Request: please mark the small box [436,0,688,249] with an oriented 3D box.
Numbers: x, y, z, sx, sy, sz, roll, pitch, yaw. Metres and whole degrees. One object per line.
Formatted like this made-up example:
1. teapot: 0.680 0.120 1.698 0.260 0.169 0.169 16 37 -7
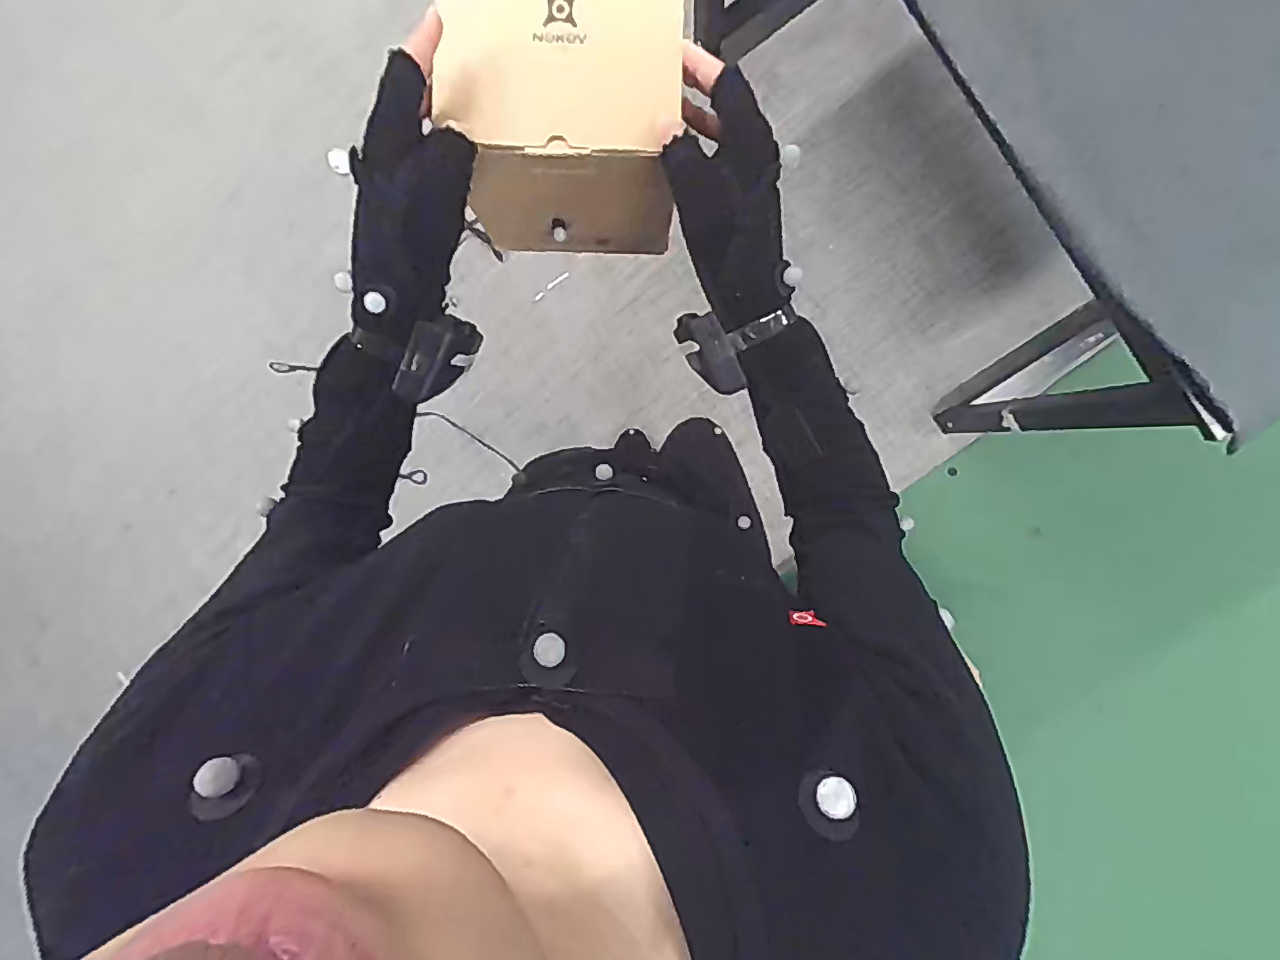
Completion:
1. small box: -0.052 -0.309 0.435 0.168 0.176 0.179 1 93 -1
